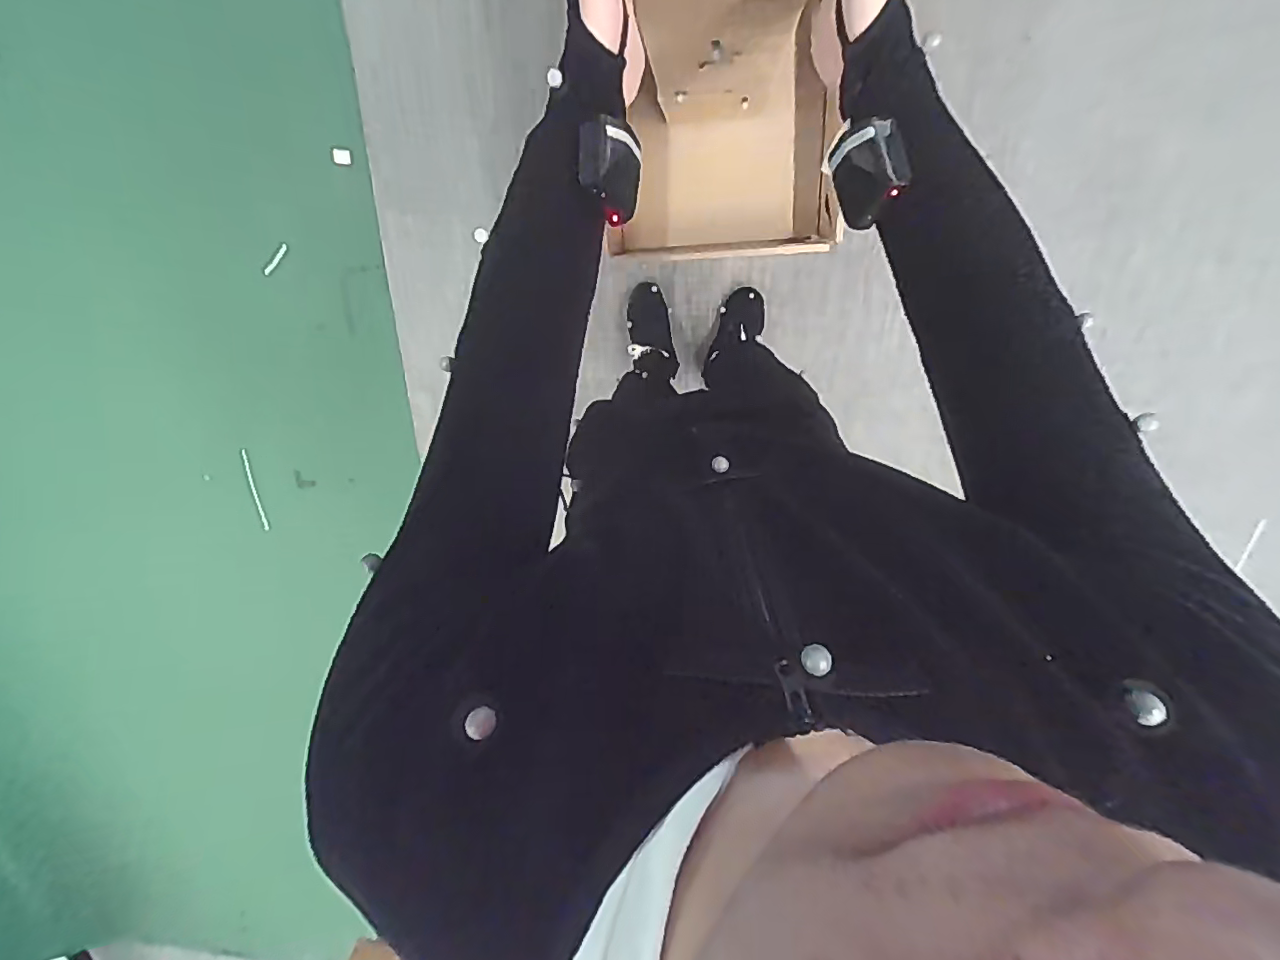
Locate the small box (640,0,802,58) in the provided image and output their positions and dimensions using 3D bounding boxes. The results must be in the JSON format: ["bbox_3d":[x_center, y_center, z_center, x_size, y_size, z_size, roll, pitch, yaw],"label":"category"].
[{"bbox_3d":[0.080,-0.565,0.545,0.168,0.176,0.179,0,112,7],"label":"small box"}]

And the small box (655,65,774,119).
[{"bbox_3d":[0.116,-0.687,0.848,0.179,0.176,0.168,0,112,7],"label":"small box"}]

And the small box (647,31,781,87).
[{"bbox_3d":[0.099,-0.629,0.695,0.168,0.176,0.179,2,112,6],"label":"small box"}]
